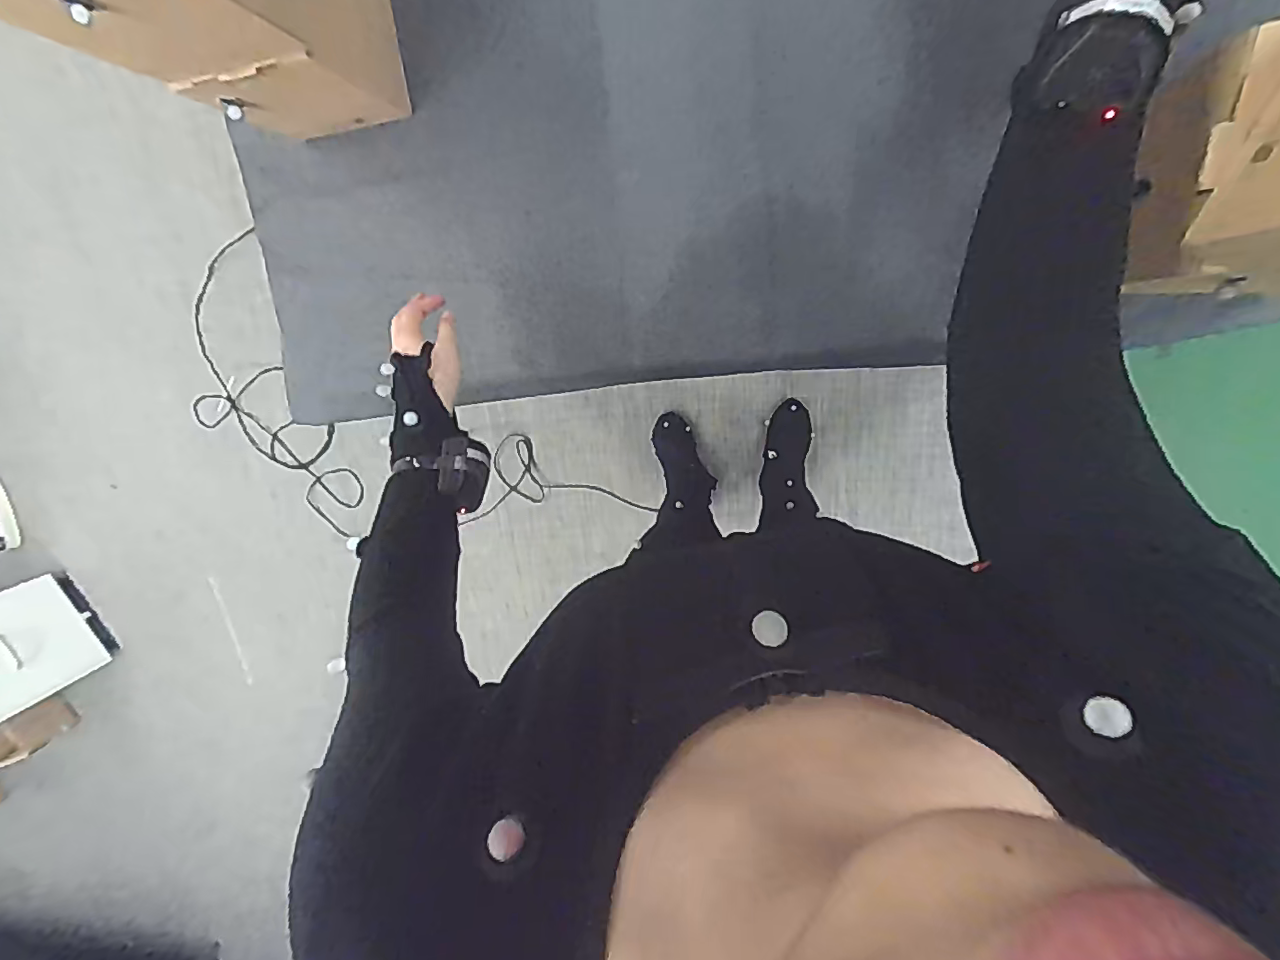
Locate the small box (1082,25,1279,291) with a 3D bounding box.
[{"bbox_3d":[0.522,-0.249,0.451,0.179,0.176,0.168,4,107,12],"label":"small box"}]

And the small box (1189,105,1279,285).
[{"bbox_3d":[0.494,-0.190,0.302,0.179,0.176,0.168,24,107,4],"label":"small box"}]

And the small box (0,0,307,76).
[{"bbox_3d":[-0.402,-0.440,0.407,0.179,0.176,0.168,-2,108,12],"label":"small box"}]
